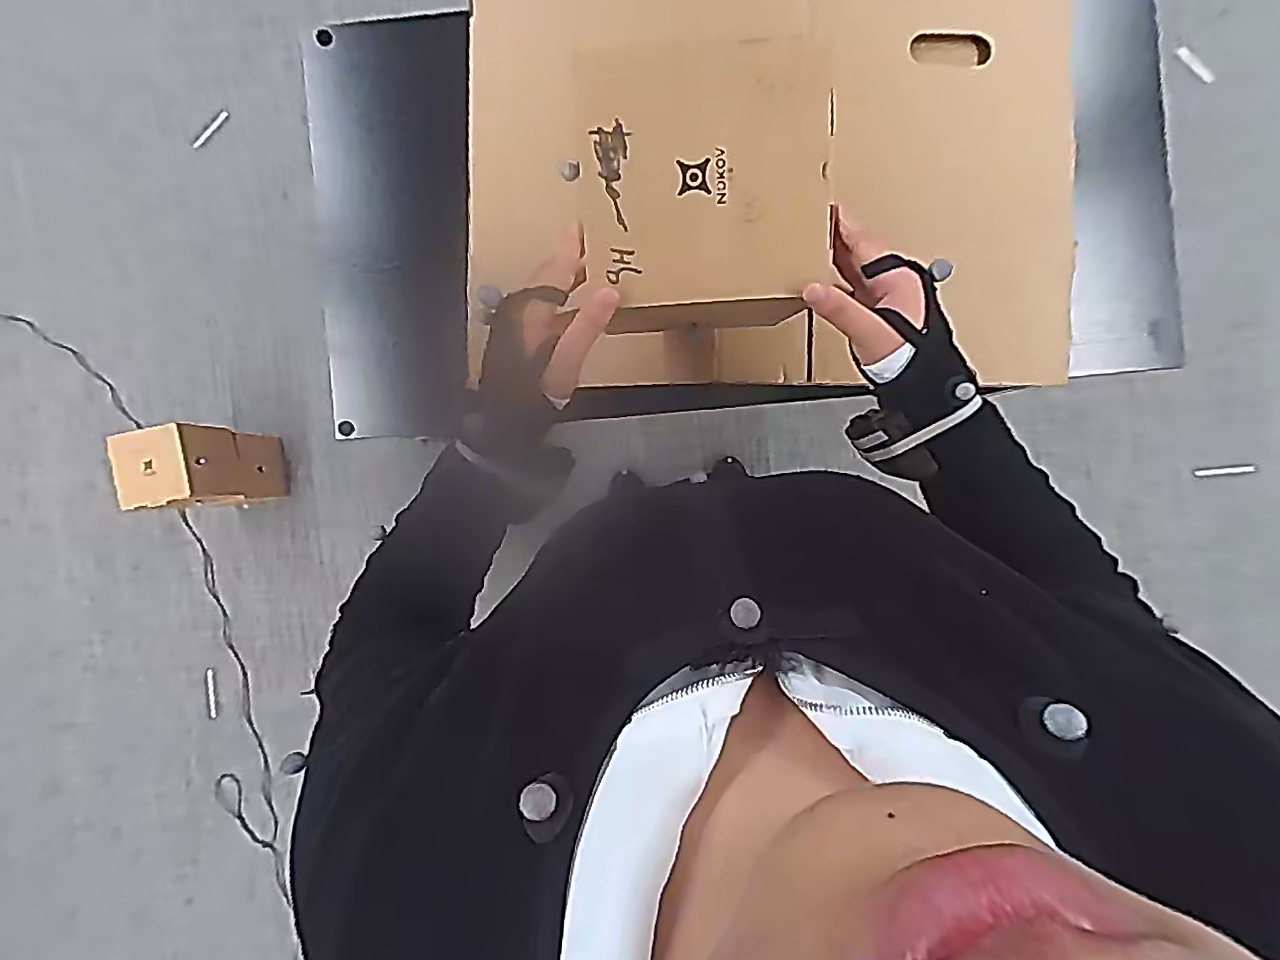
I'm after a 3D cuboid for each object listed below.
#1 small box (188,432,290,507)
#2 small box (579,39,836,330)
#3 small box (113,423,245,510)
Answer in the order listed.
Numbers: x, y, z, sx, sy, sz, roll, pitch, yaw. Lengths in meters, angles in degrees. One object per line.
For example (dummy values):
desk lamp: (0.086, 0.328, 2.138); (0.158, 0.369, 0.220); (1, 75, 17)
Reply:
small box: (-1.090, -0.027, 1.465); (0.168, 0.176, 0.179); (-9, 91, 2)
small box: (0.047, -0.223, 0.453); (0.179, 0.176, 0.168); (-3, 98, 0)
small box: (-1.097, -0.032, 1.302); (0.168, 0.176, 0.179); (-12, 89, 1)
